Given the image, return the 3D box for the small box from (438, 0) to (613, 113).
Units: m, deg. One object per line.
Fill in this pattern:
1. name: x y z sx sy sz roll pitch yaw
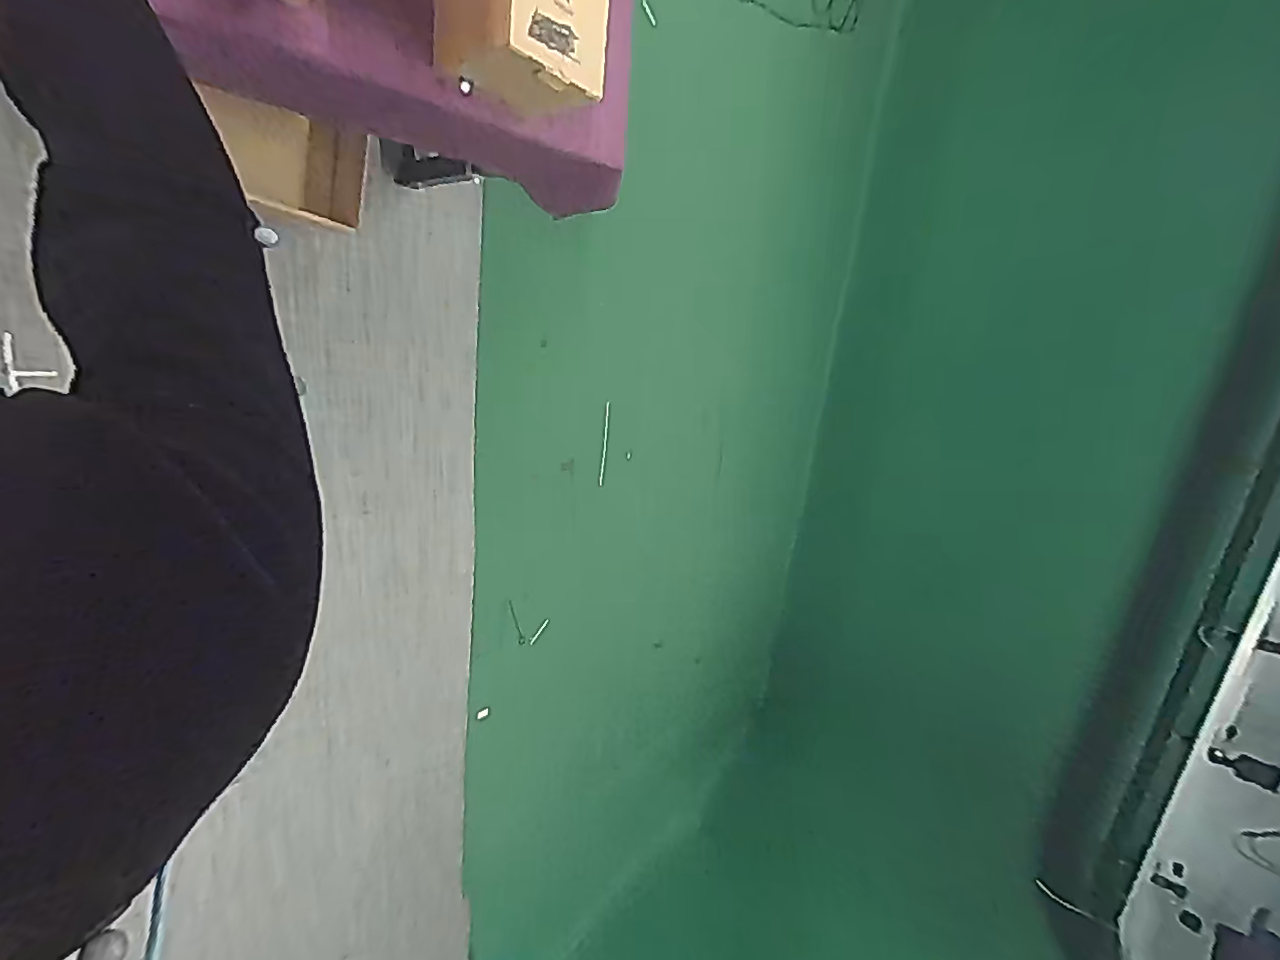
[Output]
1. small box: -0.157 -0.631 0.734 0.168 0.176 0.179 -12 113 -50
